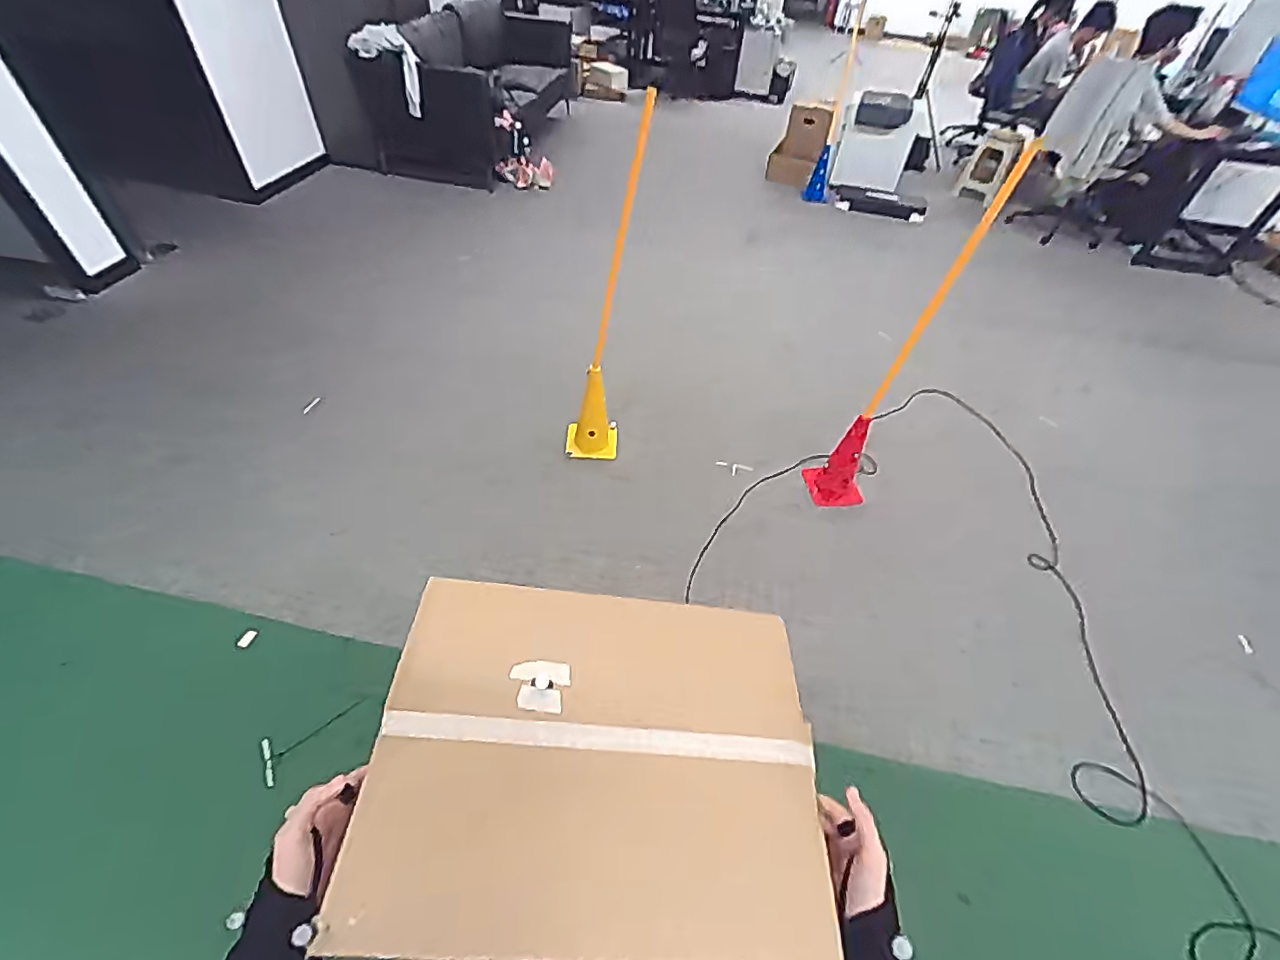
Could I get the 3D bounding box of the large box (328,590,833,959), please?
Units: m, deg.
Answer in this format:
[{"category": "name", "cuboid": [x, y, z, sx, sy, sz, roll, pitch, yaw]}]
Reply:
[{"category": "large box", "cuboid": [-0.055, 0.355, 0.627, 0.408, 0.320, 0.320, 8, 47, -6]}]
